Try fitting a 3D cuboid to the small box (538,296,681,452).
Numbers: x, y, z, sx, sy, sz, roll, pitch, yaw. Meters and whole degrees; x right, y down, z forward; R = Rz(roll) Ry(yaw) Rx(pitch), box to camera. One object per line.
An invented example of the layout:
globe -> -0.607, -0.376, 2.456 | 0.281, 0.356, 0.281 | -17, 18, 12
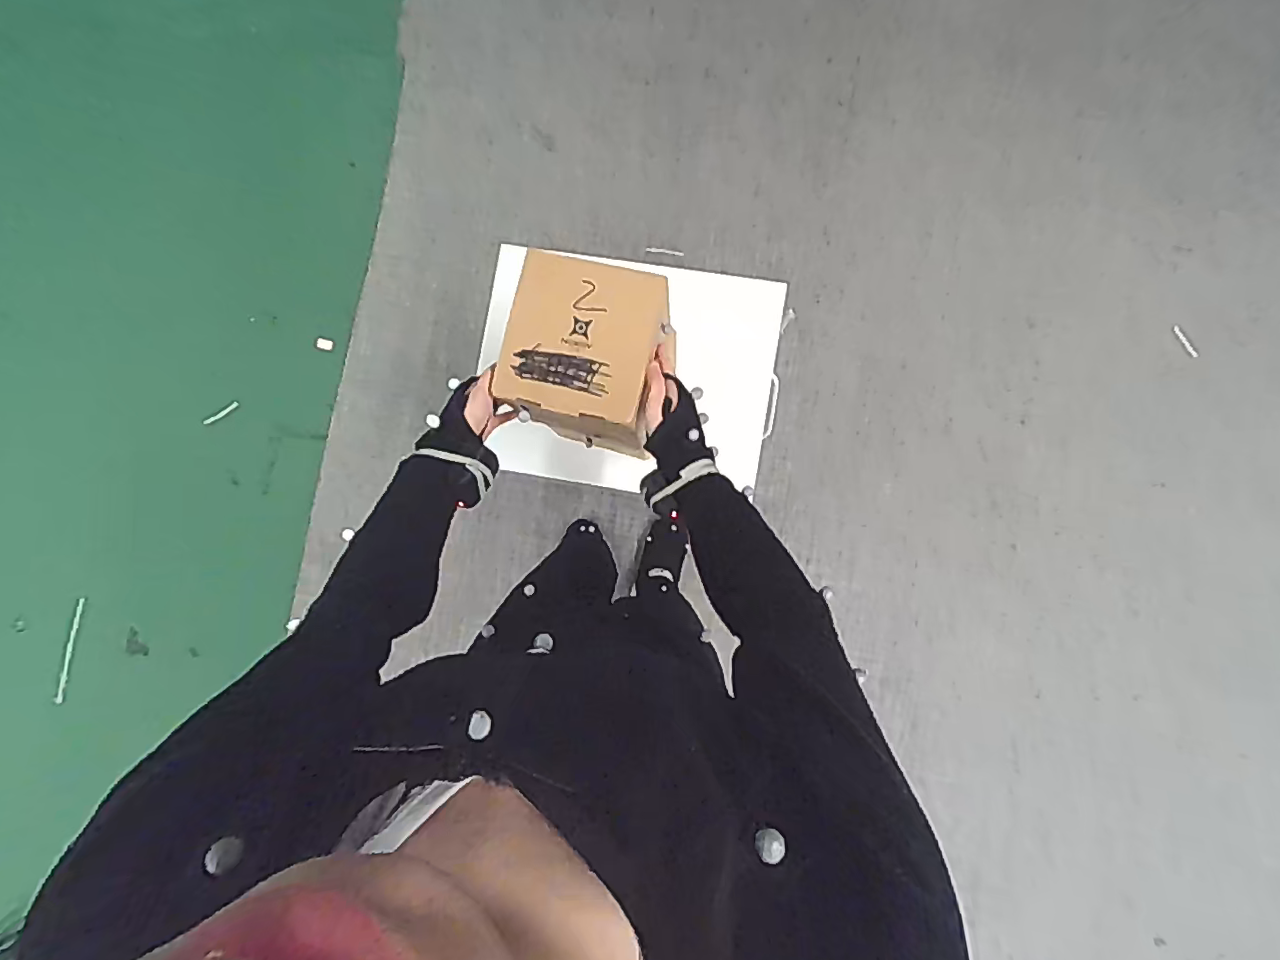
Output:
small box -> -0.040, -0.153, 0.837 | 0.168, 0.176, 0.179 | 16, 88, 5
